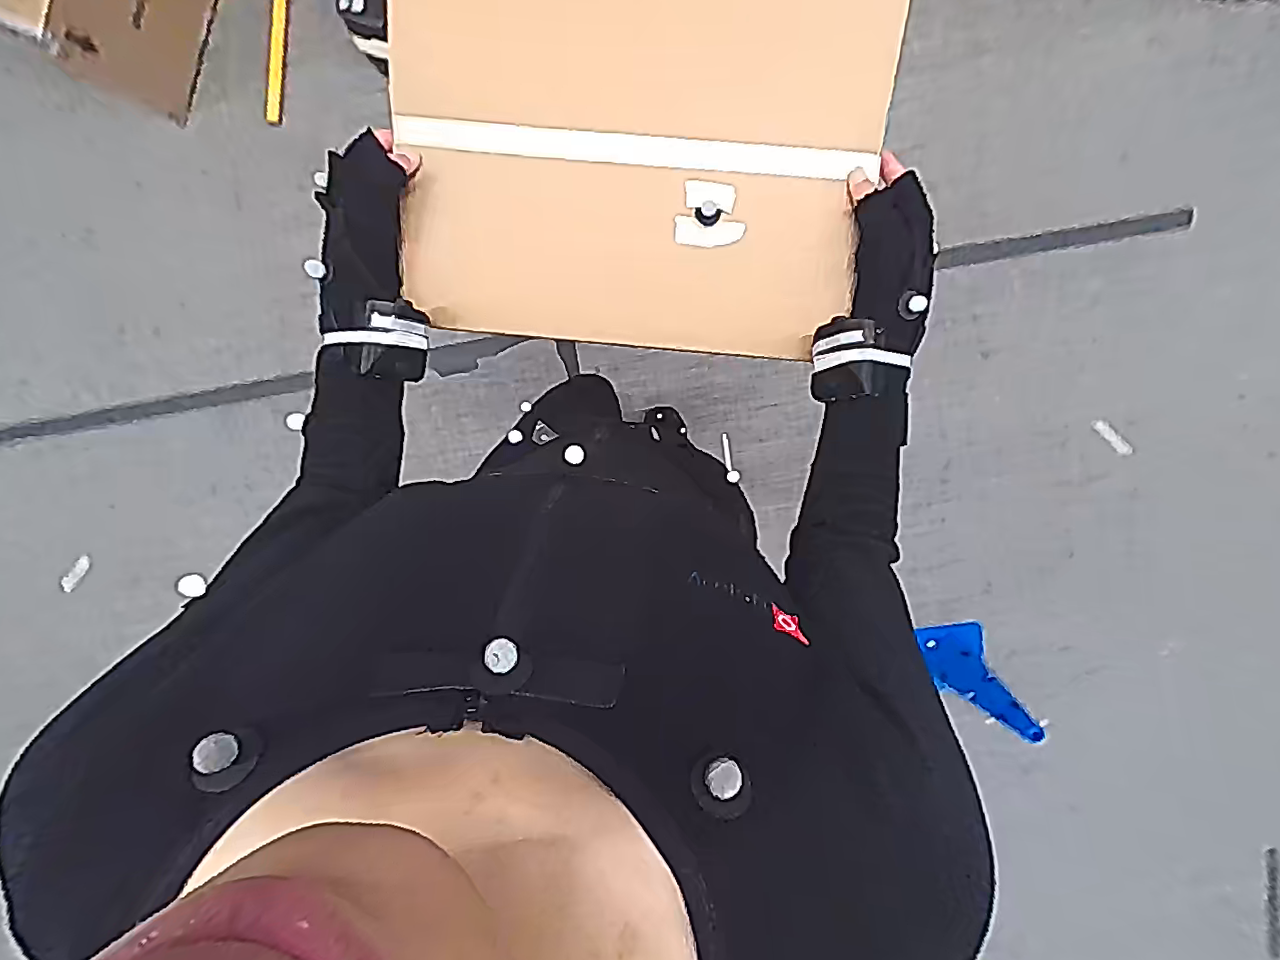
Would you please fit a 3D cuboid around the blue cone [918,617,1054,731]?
[{"bbox_3d":[0.882,0.511,1.369,0.192,0.380,0.193,-6,99,1],"label":"blue cone"}]

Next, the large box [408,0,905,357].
[{"bbox_3d":[0.004,-0.313,0.602,0.408,0.320,0.320,6,105,0],"label":"large box"}]
